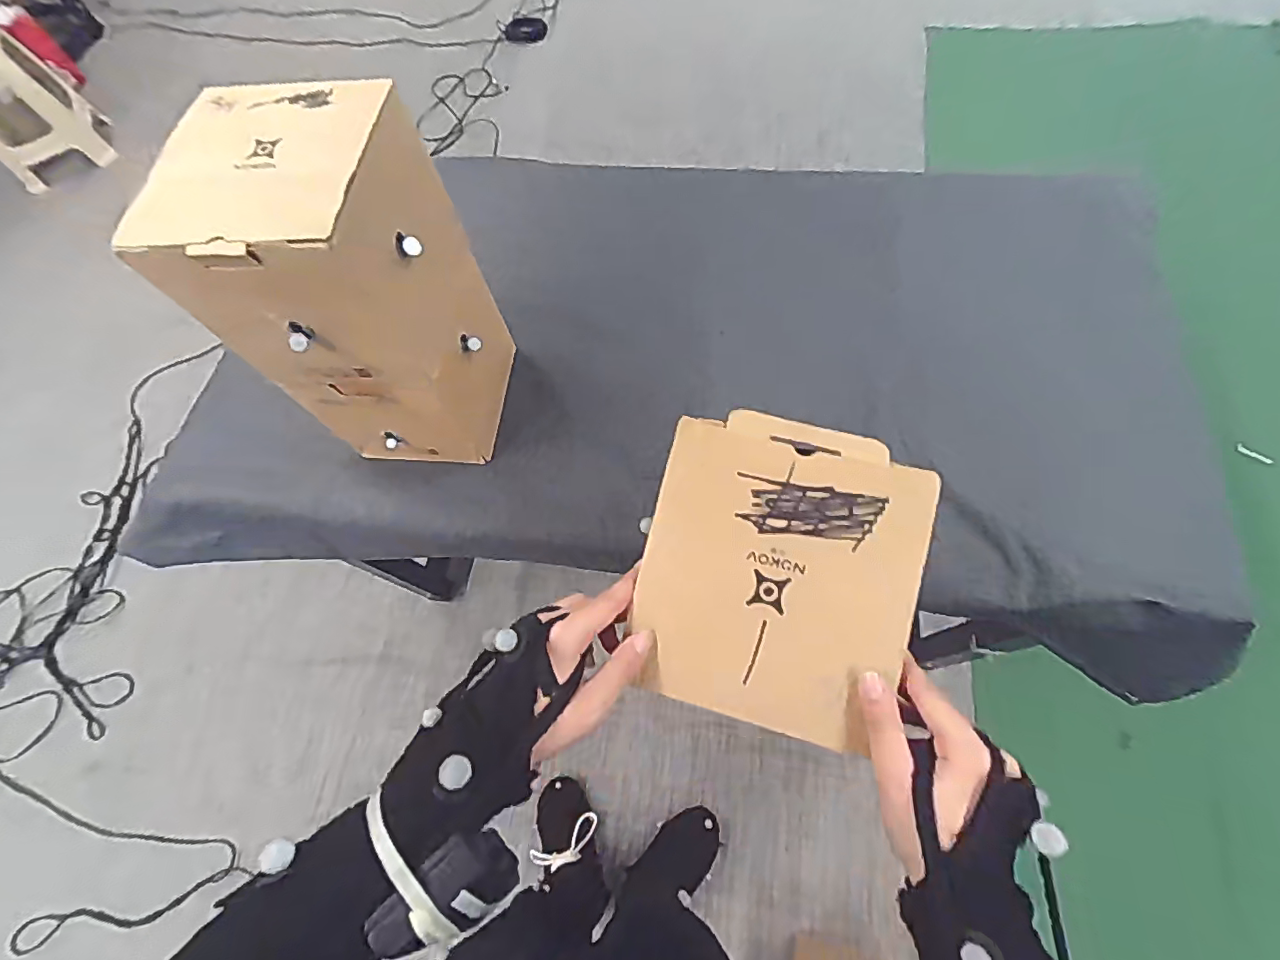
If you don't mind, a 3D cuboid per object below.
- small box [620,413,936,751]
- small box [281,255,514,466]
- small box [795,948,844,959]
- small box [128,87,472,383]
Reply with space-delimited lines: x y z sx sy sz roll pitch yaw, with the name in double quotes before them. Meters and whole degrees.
"small box" 0.096 0.067 0.414 0.168 0.176 0.179 13 85 11
"small box" -0.257 -0.134 0.625 0.168 0.176 0.179 3 66 6
"small box" 0.348 0.916 0.886 0.179 0.176 0.168 9 66 11
"small box" -0.266 -0.199 0.475 0.168 0.176 0.179 2 67 6
